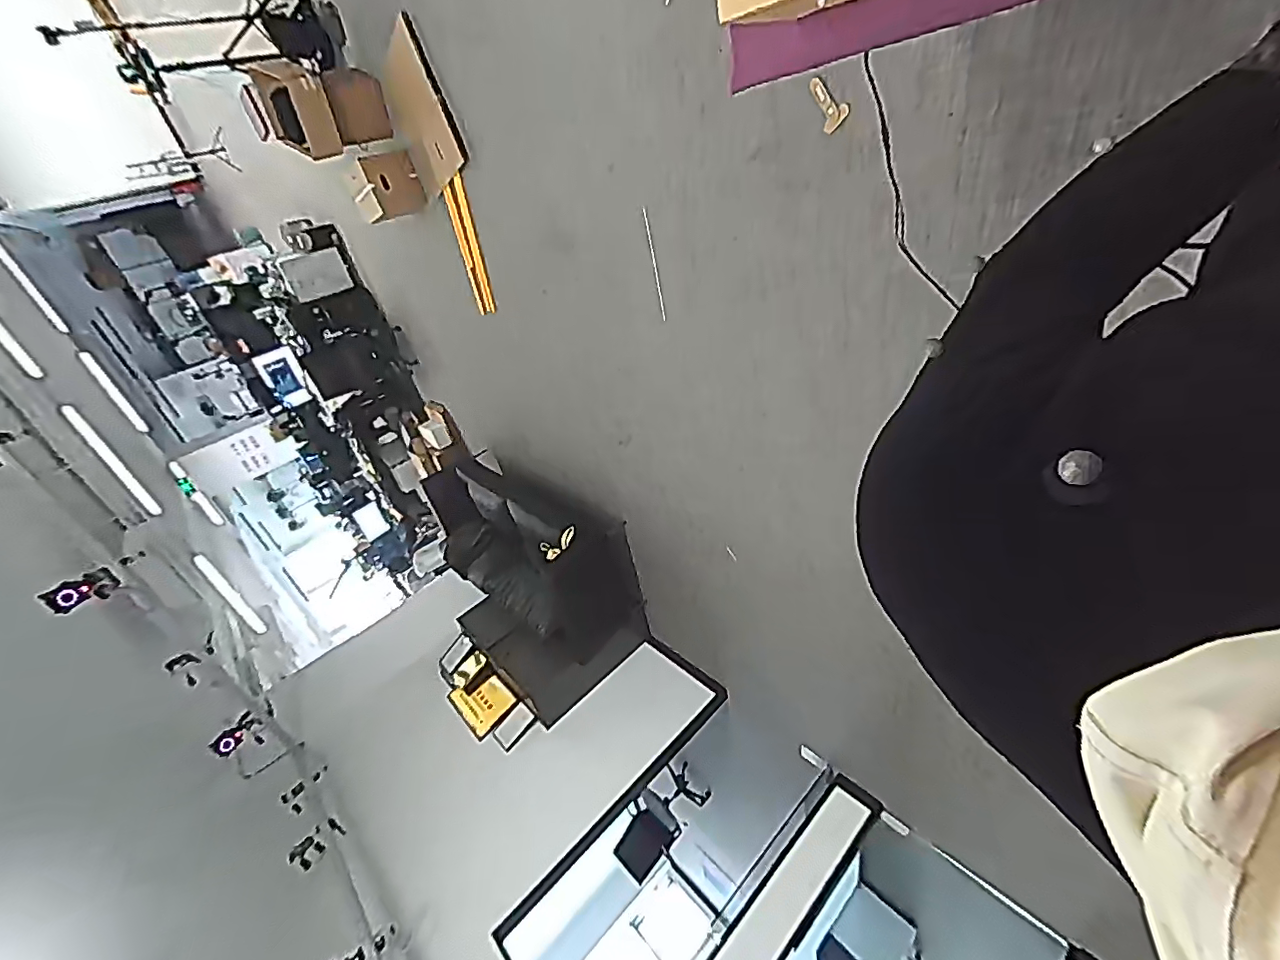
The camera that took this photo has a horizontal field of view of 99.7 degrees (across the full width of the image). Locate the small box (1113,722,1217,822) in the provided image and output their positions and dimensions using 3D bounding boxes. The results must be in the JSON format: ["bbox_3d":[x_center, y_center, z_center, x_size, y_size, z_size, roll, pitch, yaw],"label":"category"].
[{"bbox_3d":[1.614,0.890,1.661,0.179,0.176,0.168,27,140,40],"label":"small box"}]

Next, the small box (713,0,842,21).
[{"bbox_3d":[0.202,-0.684,0.656,0.179,0.176,0.168,24,137,43],"label":"small box"}]
